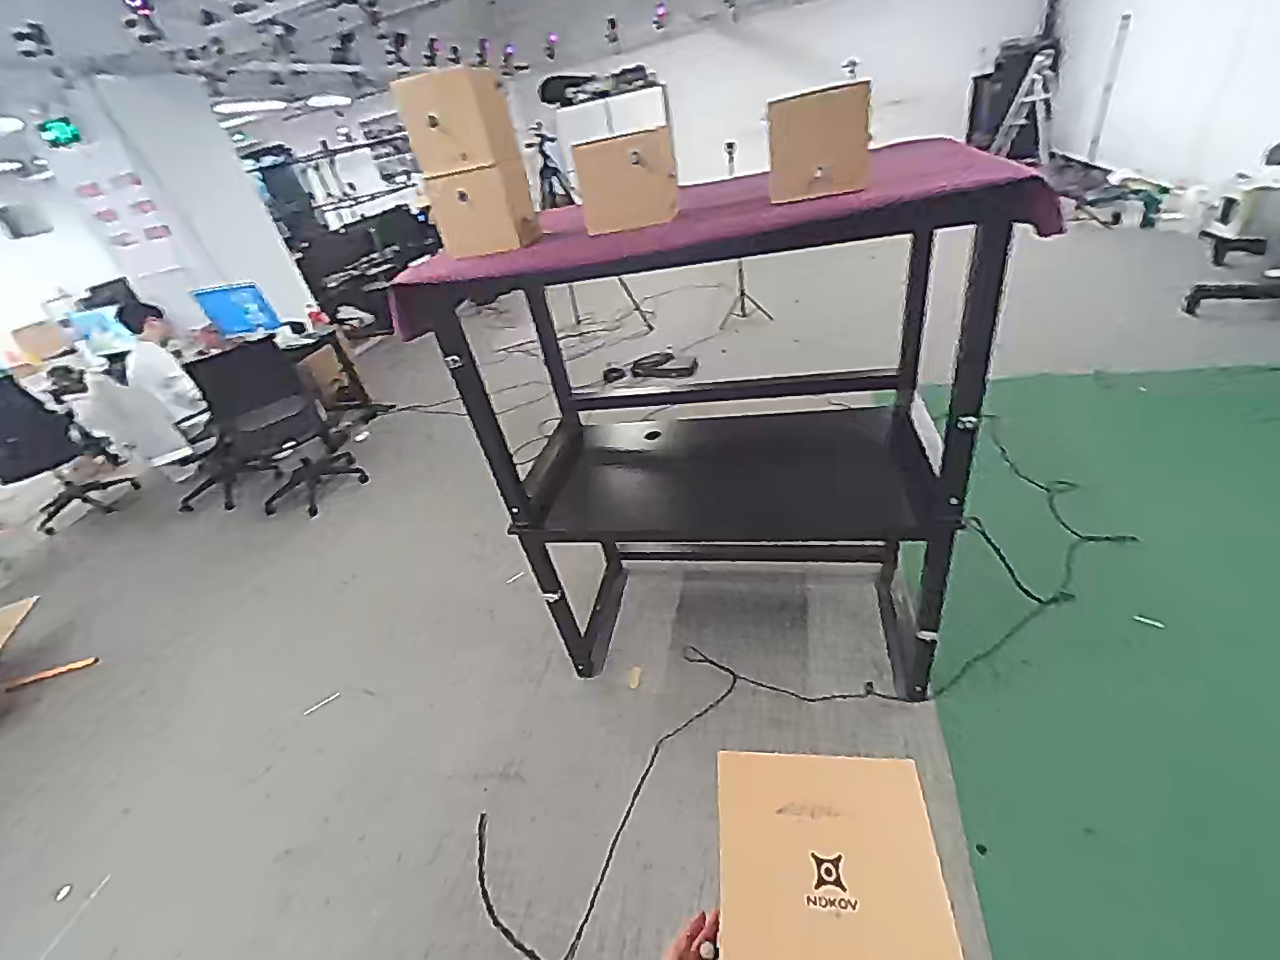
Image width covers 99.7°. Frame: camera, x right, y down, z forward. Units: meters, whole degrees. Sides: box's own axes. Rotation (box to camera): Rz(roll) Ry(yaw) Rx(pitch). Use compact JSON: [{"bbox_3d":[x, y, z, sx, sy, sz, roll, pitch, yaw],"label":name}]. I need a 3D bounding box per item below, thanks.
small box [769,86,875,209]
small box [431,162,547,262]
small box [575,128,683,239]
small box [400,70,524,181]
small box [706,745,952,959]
[{"bbox_3d":[0.343,-0.636,1.037,0.179,0.176,0.168,-2,33,16],"label":"small box"},{"bbox_3d":[-0.333,-0.607,1.229,0.179,0.176,0.168,-3,35,13],"label":"small box"},{"bbox_3d":[-0.013,-0.626,1.146,0.179,0.176,0.168,-2,34,17],"label":"small box"},{"bbox_3d":[-0.363,-0.742,1.143,0.168,0.176,0.179,-4,34,13],"label":"small box"},{"bbox_3d":[0.142,0.348,0.459,0.168,0.176,0.179,-1,45,8],"label":"small box"}]
